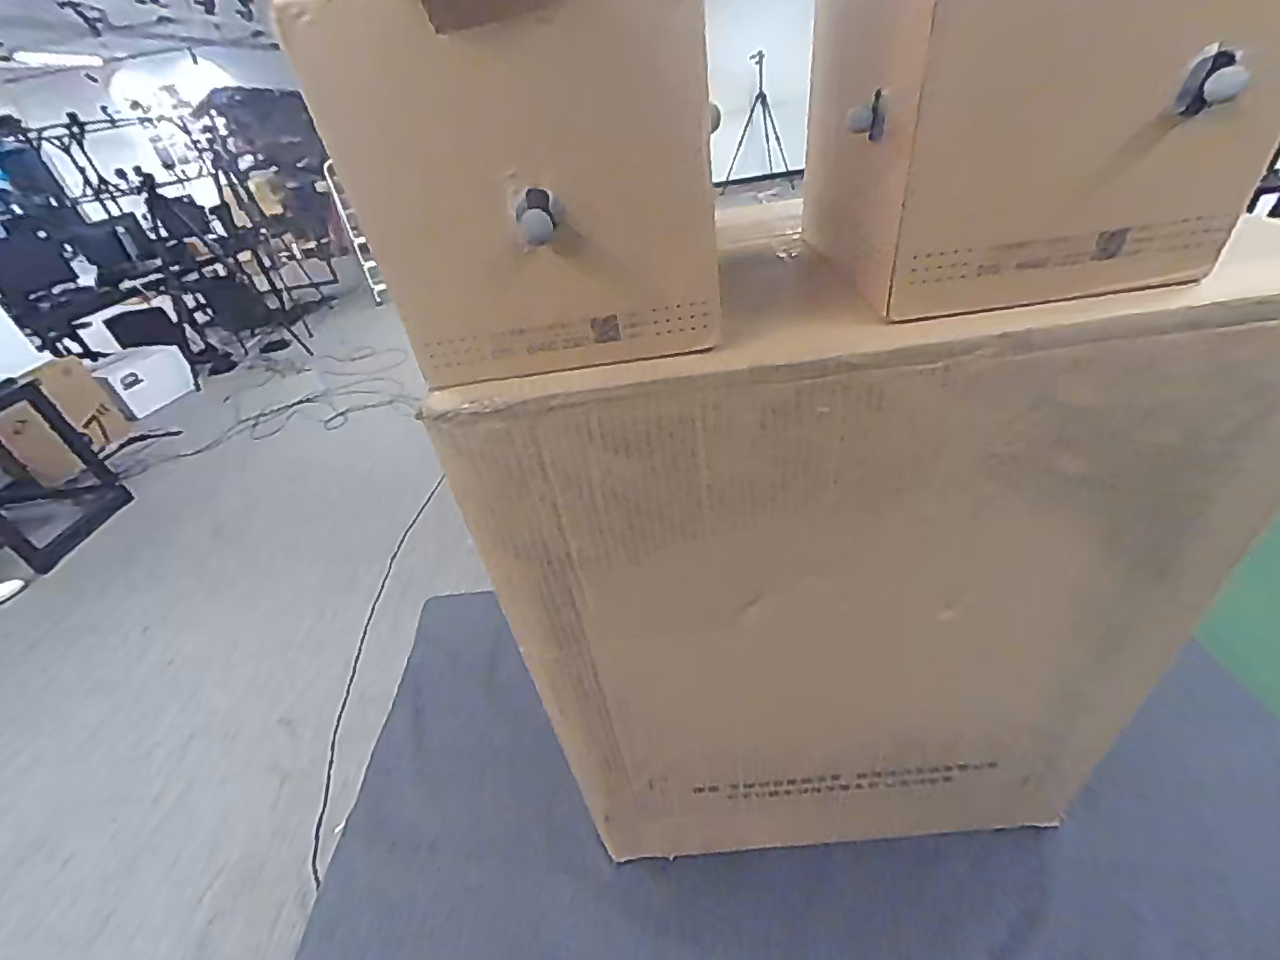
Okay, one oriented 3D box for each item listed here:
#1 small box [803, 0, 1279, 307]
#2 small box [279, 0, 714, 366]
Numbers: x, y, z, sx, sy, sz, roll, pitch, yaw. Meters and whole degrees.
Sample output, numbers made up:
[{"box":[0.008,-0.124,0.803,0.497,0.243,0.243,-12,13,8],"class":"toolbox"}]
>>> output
[{"box":[0.196,-0.203,0.299,0.168,0.176,0.179,-5,37,3],"class":"small box"},{"box":[-0.050,-0.176,0.316,0.168,0.176,0.179,-6,39,4],"class":"small box"}]
